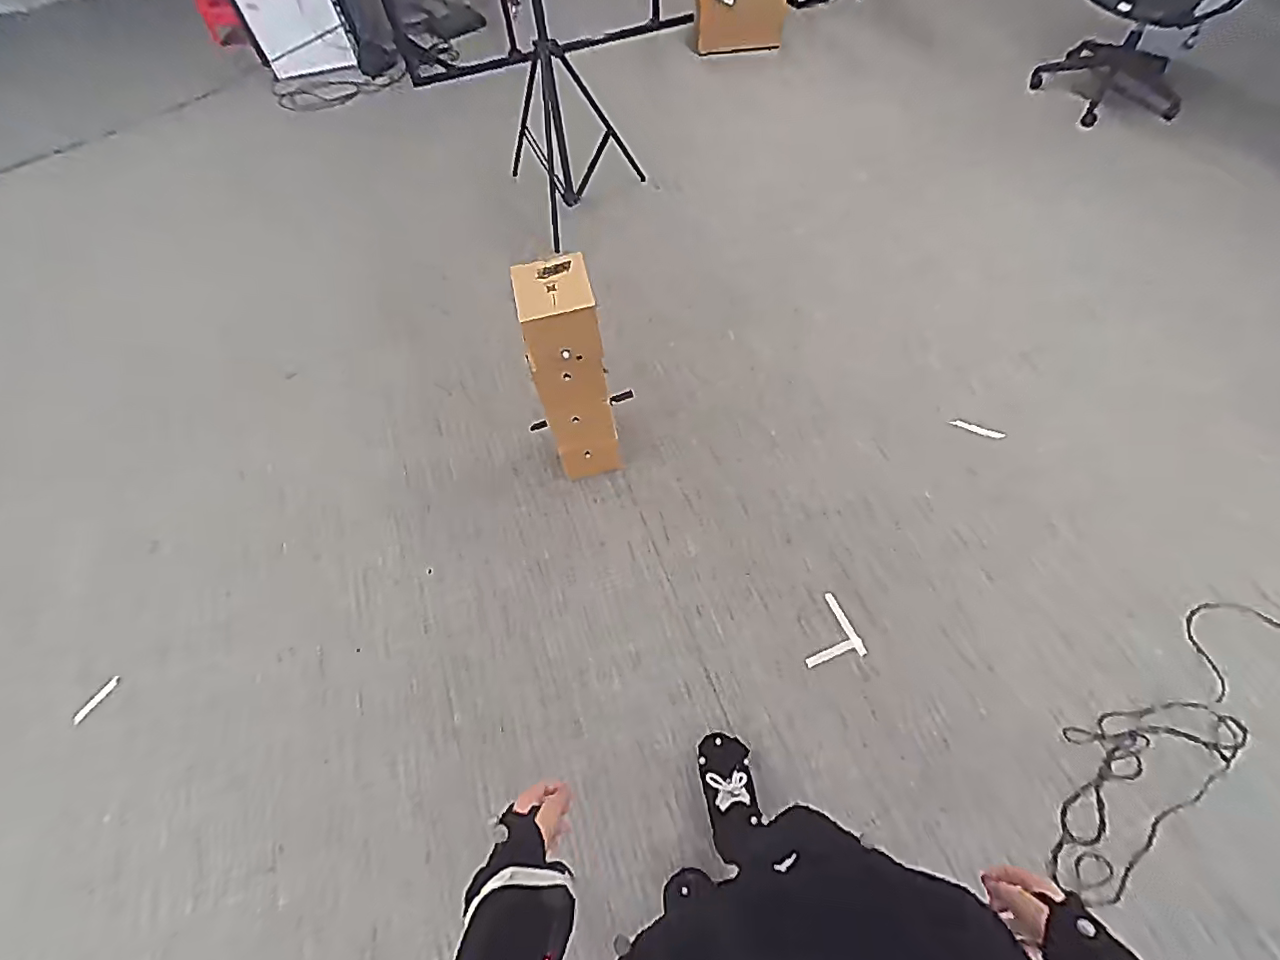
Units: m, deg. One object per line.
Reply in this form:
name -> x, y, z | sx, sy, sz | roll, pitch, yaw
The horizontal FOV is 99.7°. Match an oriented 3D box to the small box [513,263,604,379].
small box -> -0.184, -0.362, 1.244 | 0.168, 0.176, 0.179 | -13, 62, -2

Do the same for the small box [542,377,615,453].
small box -> -0.175, -0.194, 1.524 | 0.179, 0.176, 0.168 | -10, 61, -2

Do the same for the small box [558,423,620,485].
small box -> -0.161, -0.106, 1.662 | 0.179, 0.176, 0.168 | -13, 60, -3

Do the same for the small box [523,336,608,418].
small box -> -0.187, -0.280, 1.387 | 0.179, 0.176, 0.168 | -12, 61, -4
